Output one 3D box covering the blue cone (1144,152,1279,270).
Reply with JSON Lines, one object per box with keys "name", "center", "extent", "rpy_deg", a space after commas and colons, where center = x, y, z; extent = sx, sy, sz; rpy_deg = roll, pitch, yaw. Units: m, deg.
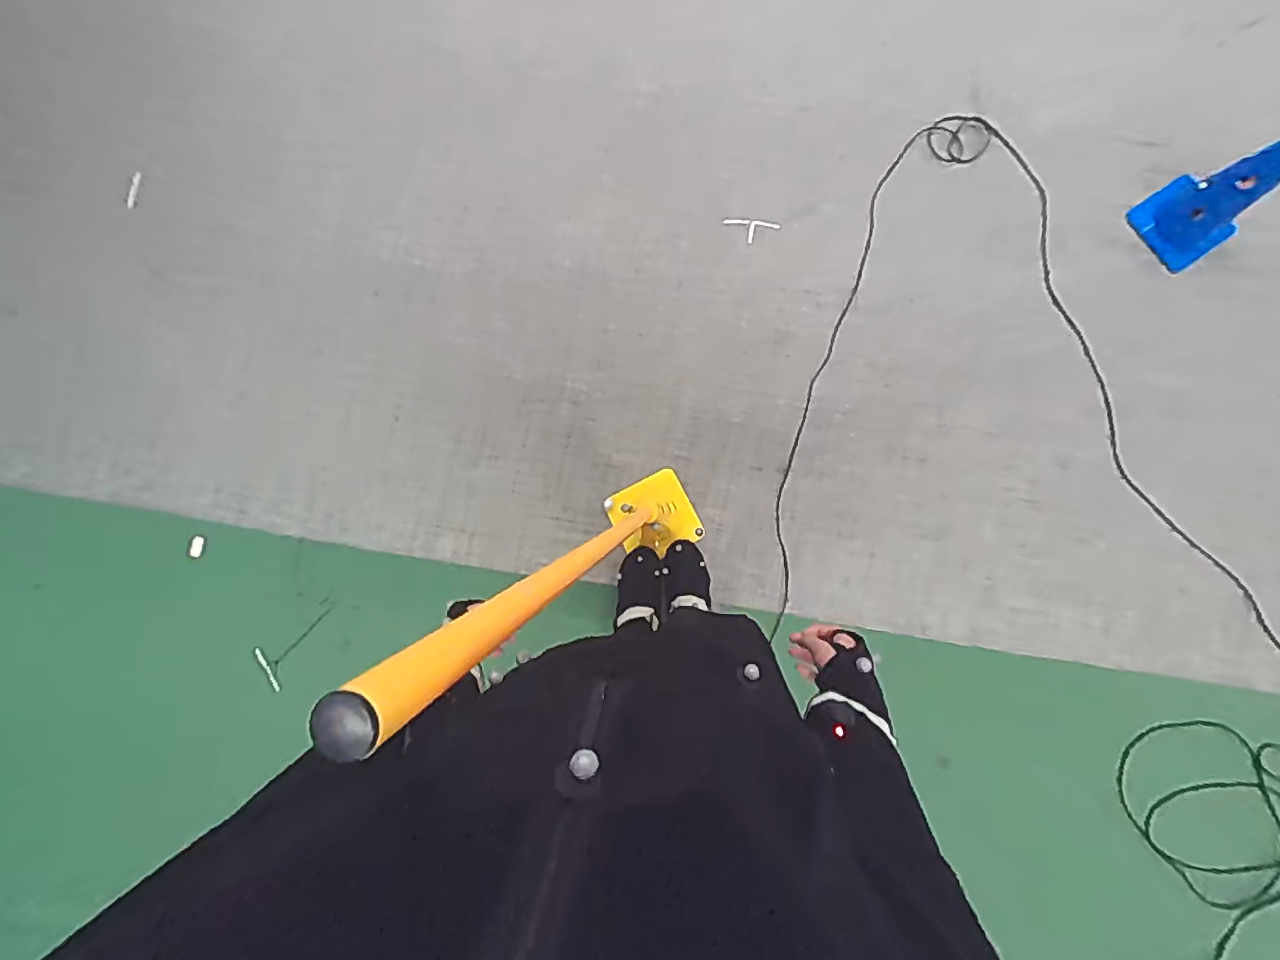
{"name": "blue cone", "center": [1.363, -0.657, 1.178], "extent": [0.193, 0.380, 0.192], "rpy_deg": [-35, 83, -3]}
